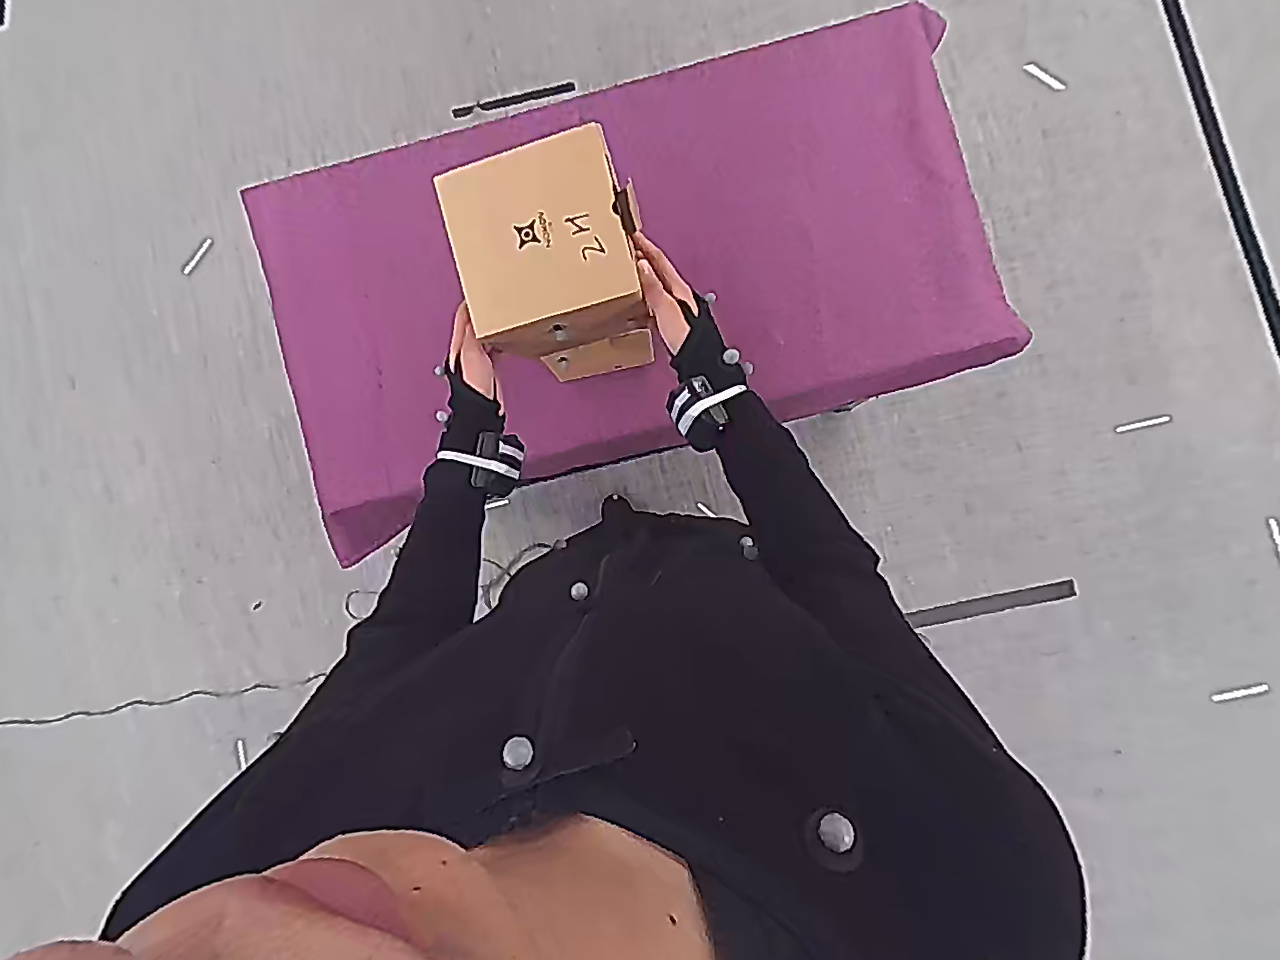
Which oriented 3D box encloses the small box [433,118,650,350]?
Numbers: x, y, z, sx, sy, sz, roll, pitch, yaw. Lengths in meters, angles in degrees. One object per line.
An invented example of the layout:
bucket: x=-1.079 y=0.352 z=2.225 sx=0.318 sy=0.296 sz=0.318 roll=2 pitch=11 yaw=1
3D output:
small box: x=-0.096 y=-0.255 z=0.609 sx=0.179 sy=0.176 sz=0.168 roll=-14 pitch=94 yaw=7
